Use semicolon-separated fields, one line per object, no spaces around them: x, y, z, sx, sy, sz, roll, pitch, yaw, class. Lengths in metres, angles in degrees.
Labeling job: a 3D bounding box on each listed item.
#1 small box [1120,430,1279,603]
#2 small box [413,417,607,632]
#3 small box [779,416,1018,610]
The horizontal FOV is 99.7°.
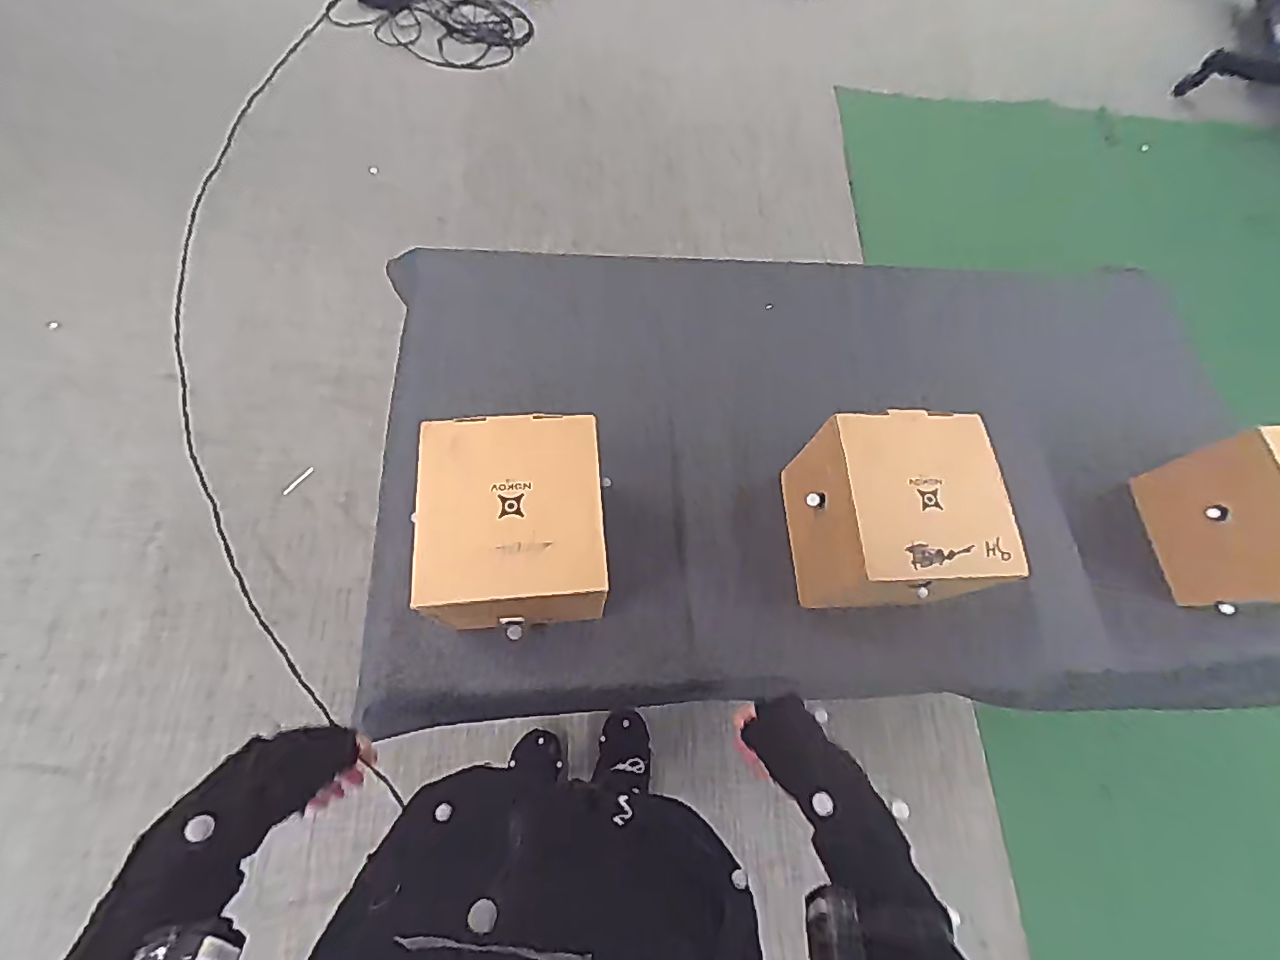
0.759;0.053;0.663;0.168;0.176;0.179;-1;67;-4;small box
-0.127;0.052;0.566;0.168;0.176;0.179;-4;68;-7;small box
0.271;0.044;0.616;0.168;0.176;0.179;-1;68;-6;small box
